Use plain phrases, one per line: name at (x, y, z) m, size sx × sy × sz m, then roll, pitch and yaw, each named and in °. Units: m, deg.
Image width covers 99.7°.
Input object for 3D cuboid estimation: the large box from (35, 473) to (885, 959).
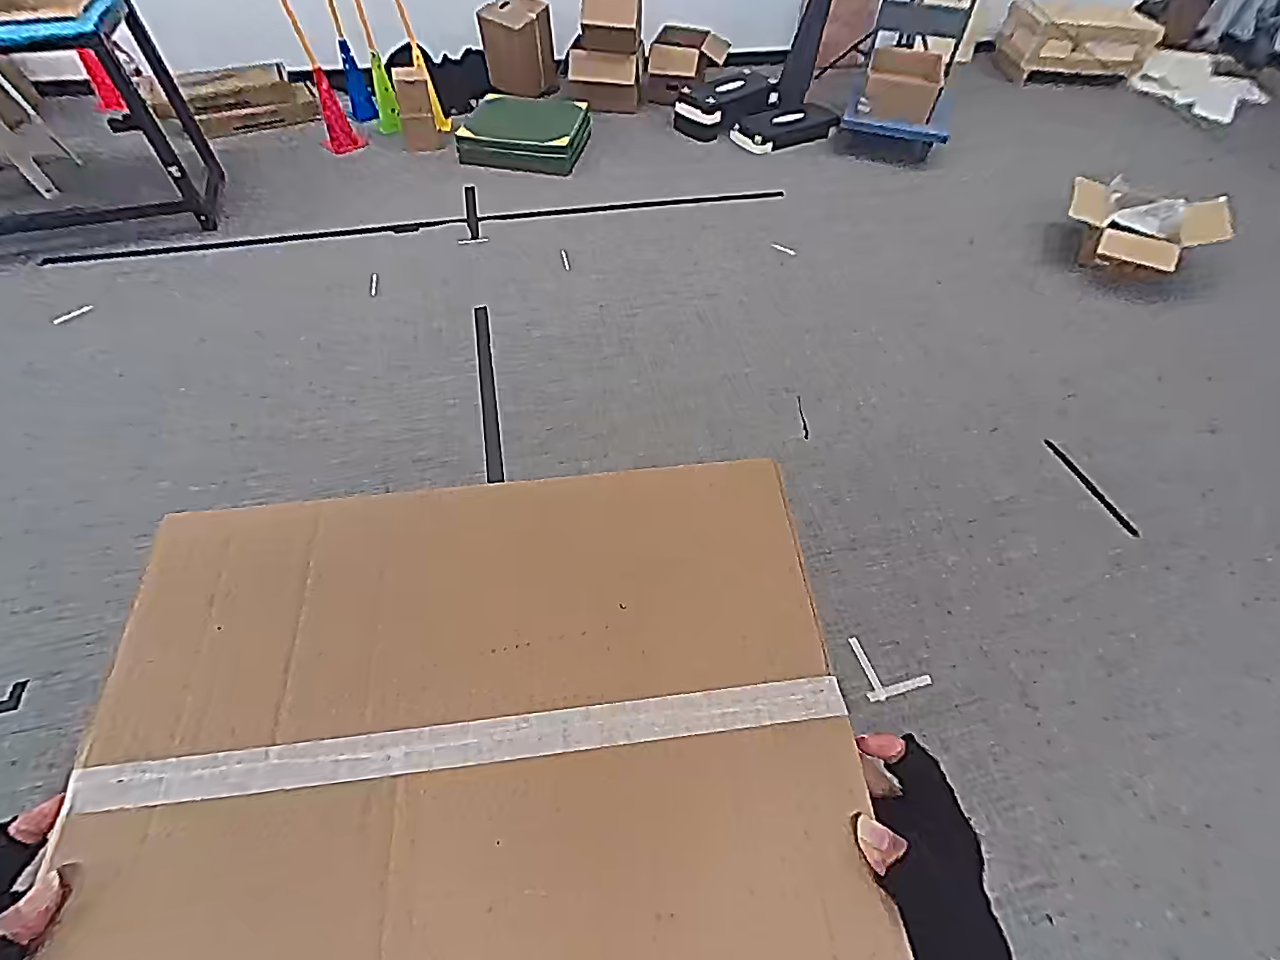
large box at (-0.093, 0.218, 0.430) m, size 0.408 × 0.320 × 0.320 m, roll -5°, pitch 60°, yaw -3°
